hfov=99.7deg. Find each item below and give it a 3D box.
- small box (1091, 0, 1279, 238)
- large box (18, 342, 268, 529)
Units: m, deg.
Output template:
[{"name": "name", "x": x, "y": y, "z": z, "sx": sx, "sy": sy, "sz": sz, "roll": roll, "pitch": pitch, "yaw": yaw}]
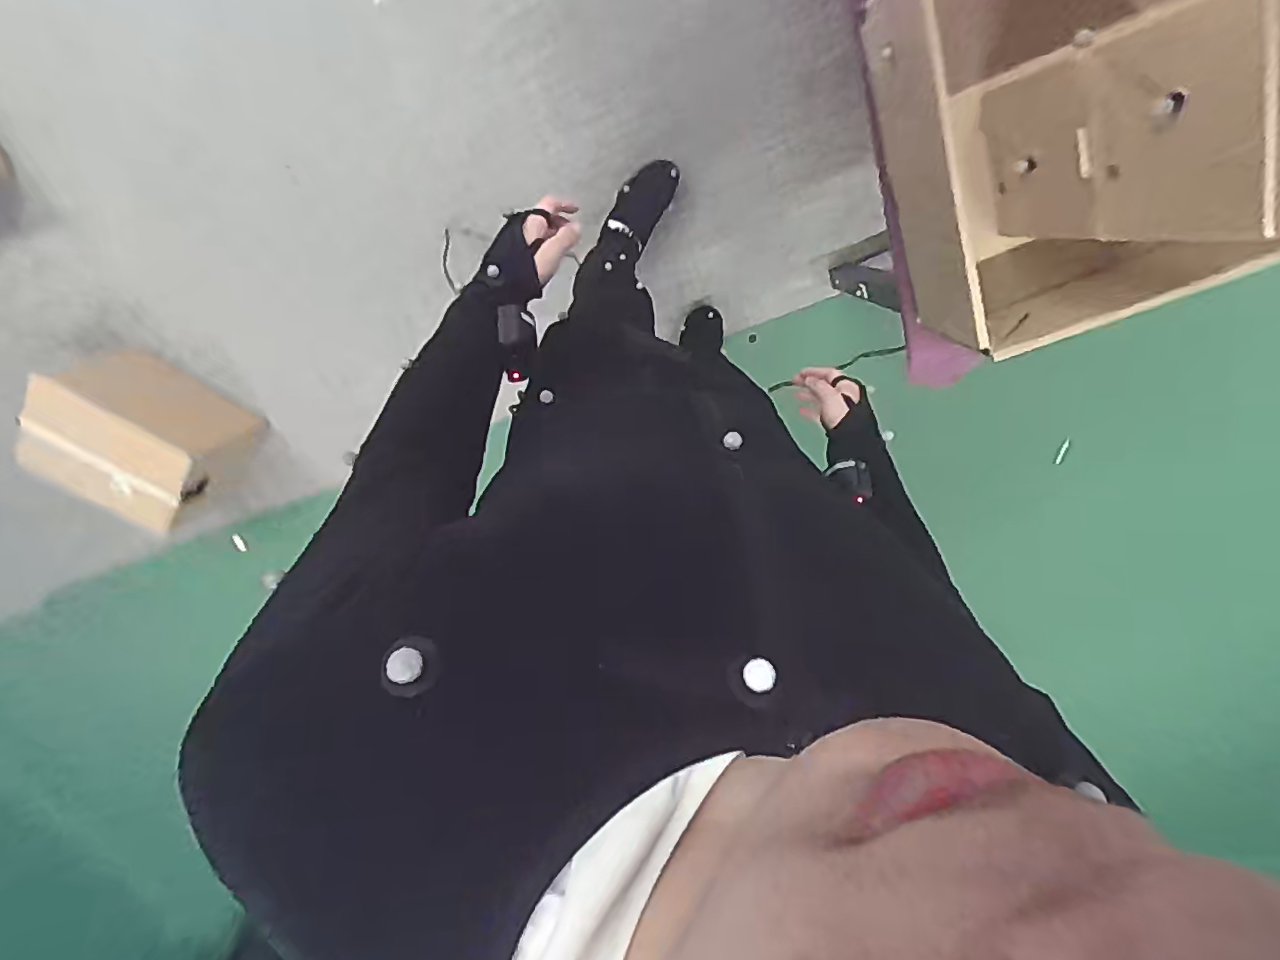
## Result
[{"name": "small box", "x": 0.490, "y": -0.299, "z": 0.414, "sx": 0.179, "sy": 0.176, "sz": 0.168, "roll": -20, "pitch": 111, "yaw": 10}, {"name": "large box", "x": -1.407, "y": -0.137, "z": 1.561, "sx": 0.408, "sy": 0.320, "sz": 0.320, "roll": 33, "pitch": 114, "yaw": -13}]
